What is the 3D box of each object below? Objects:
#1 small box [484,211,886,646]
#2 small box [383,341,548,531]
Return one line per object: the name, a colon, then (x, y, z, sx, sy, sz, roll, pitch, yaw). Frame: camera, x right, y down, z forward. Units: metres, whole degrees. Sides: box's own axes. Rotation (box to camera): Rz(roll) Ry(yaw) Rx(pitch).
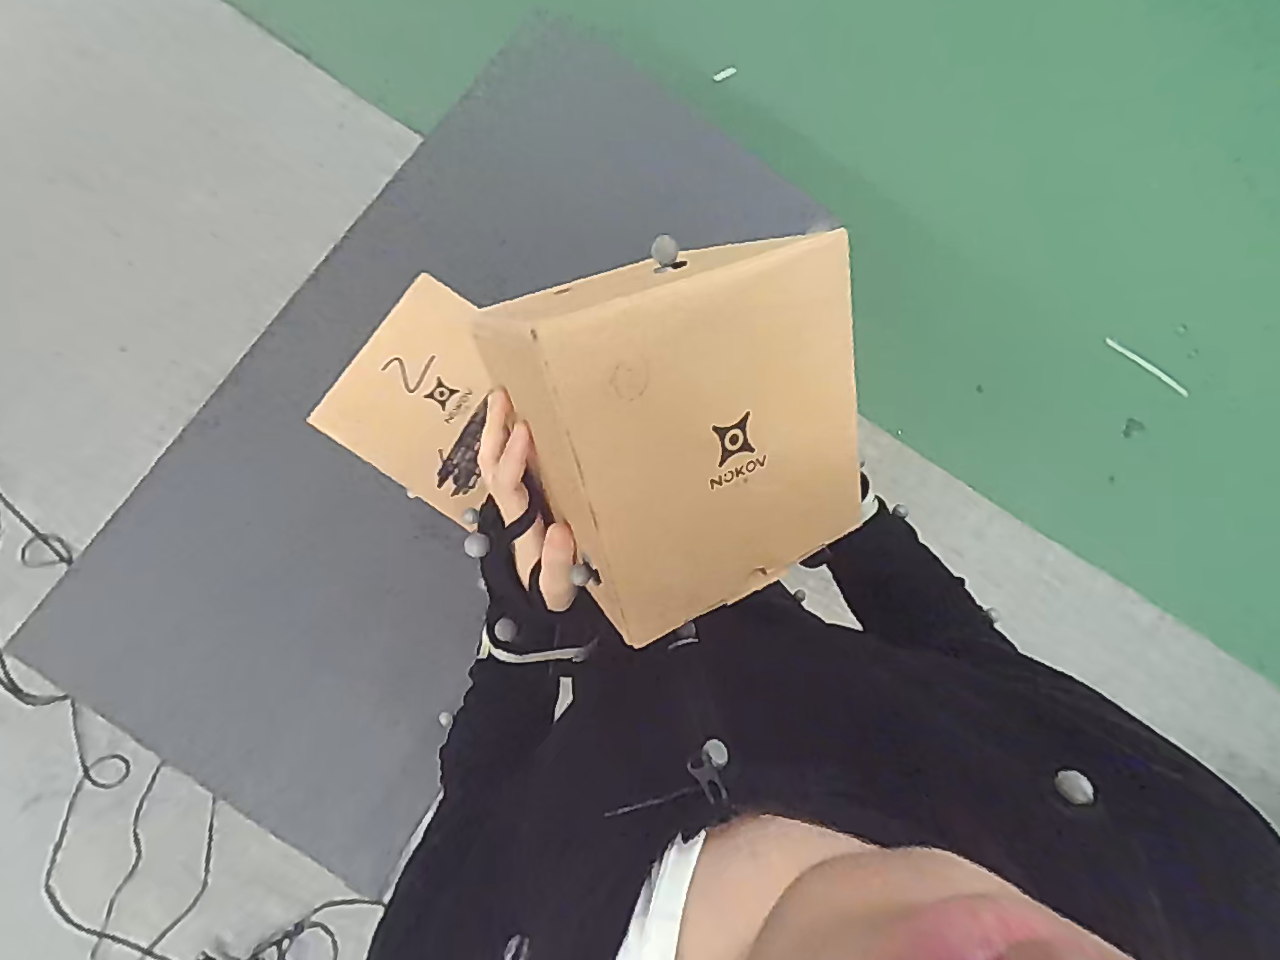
small box: (0.021, -0.043, 0.329, 0.168, 0.176, 0.179, -23, 117, -18)
small box: (-0.181, -0.042, 0.694, 0.179, 0.176, 0.168, 31, 83, 0)
